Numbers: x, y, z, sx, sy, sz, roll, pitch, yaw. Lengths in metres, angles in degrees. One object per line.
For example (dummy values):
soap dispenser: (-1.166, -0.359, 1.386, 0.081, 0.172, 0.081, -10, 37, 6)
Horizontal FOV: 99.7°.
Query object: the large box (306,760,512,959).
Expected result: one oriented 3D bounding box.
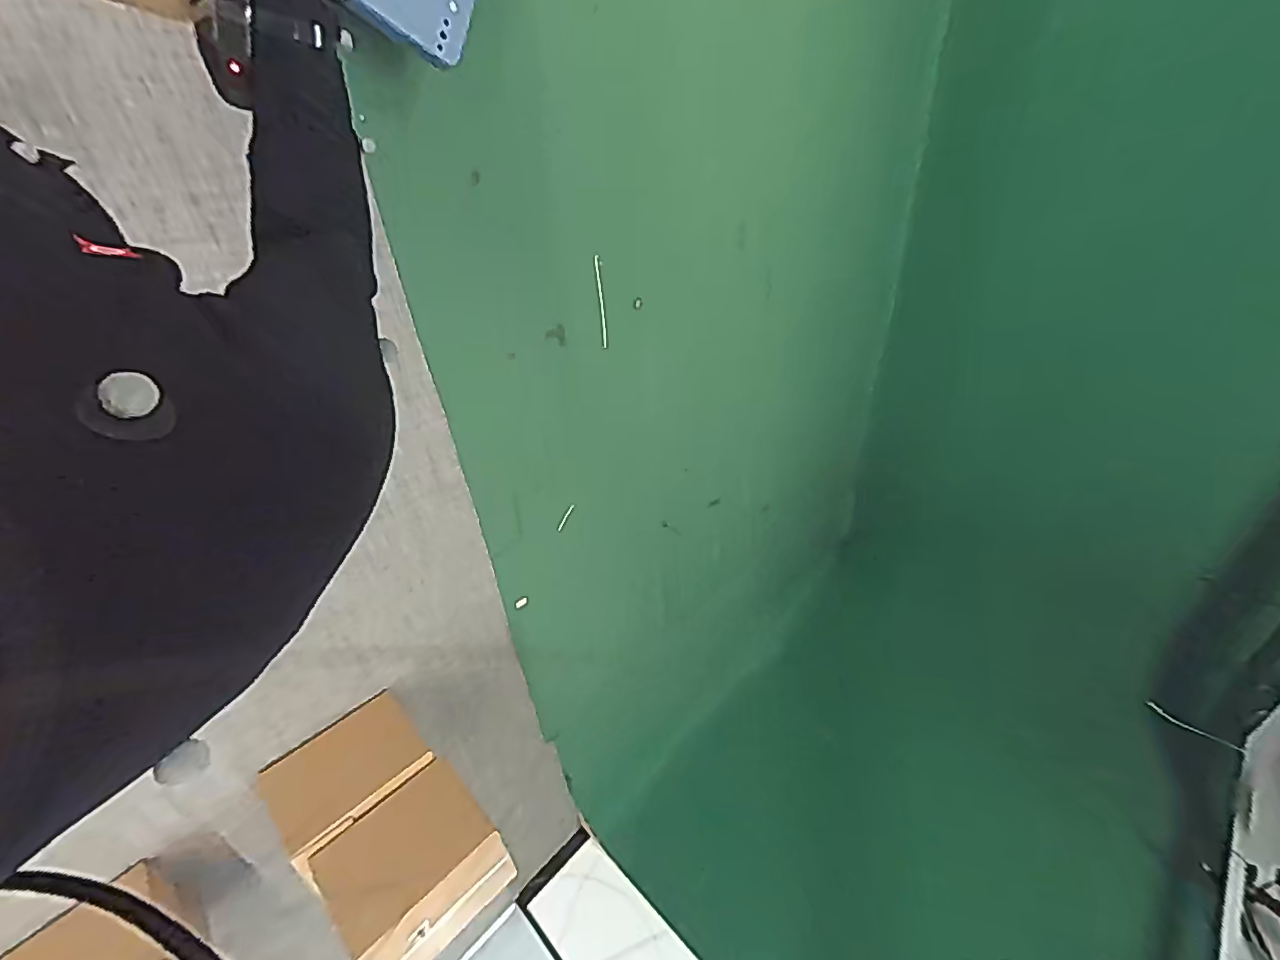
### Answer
large box: (-0.632, 1.105, 1.526, 0.408, 0.320, 0.320, -31, 135, -34)
